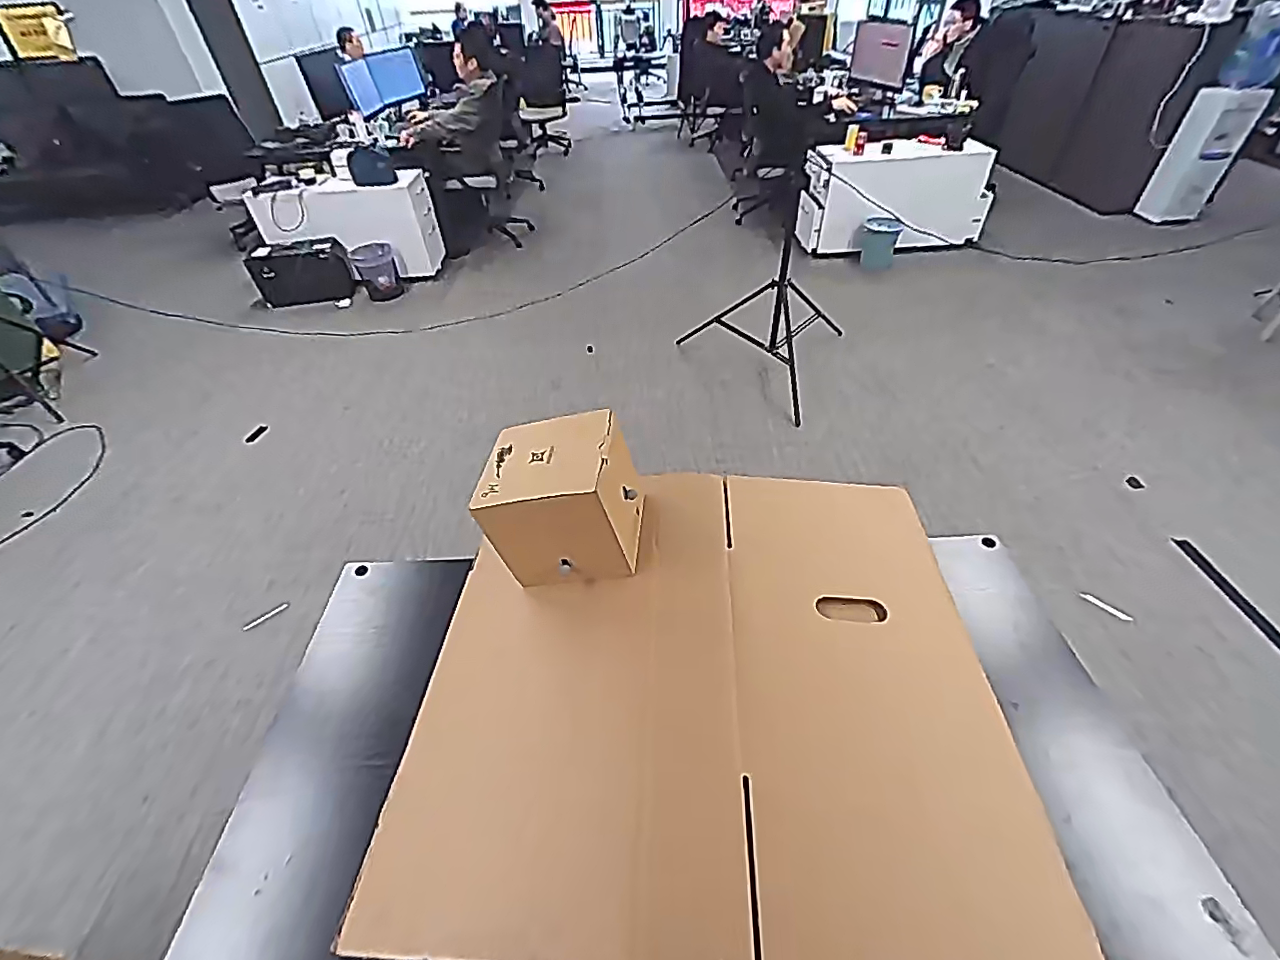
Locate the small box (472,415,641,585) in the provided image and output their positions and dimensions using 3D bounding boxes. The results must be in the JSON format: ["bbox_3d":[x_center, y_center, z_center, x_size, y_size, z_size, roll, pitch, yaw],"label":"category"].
[{"bbox_3d":[-0.104,0.032,0.775,0.179,0.176,0.168,-8,41,14],"label":"small box"}]

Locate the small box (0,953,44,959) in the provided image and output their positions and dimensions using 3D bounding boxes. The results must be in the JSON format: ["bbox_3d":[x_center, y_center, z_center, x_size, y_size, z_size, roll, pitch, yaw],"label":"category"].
[{"bbox_3d":[-1.177,0.945,0.928,0.168,0.176,0.179,-7,42,-5],"label":"small box"}]
